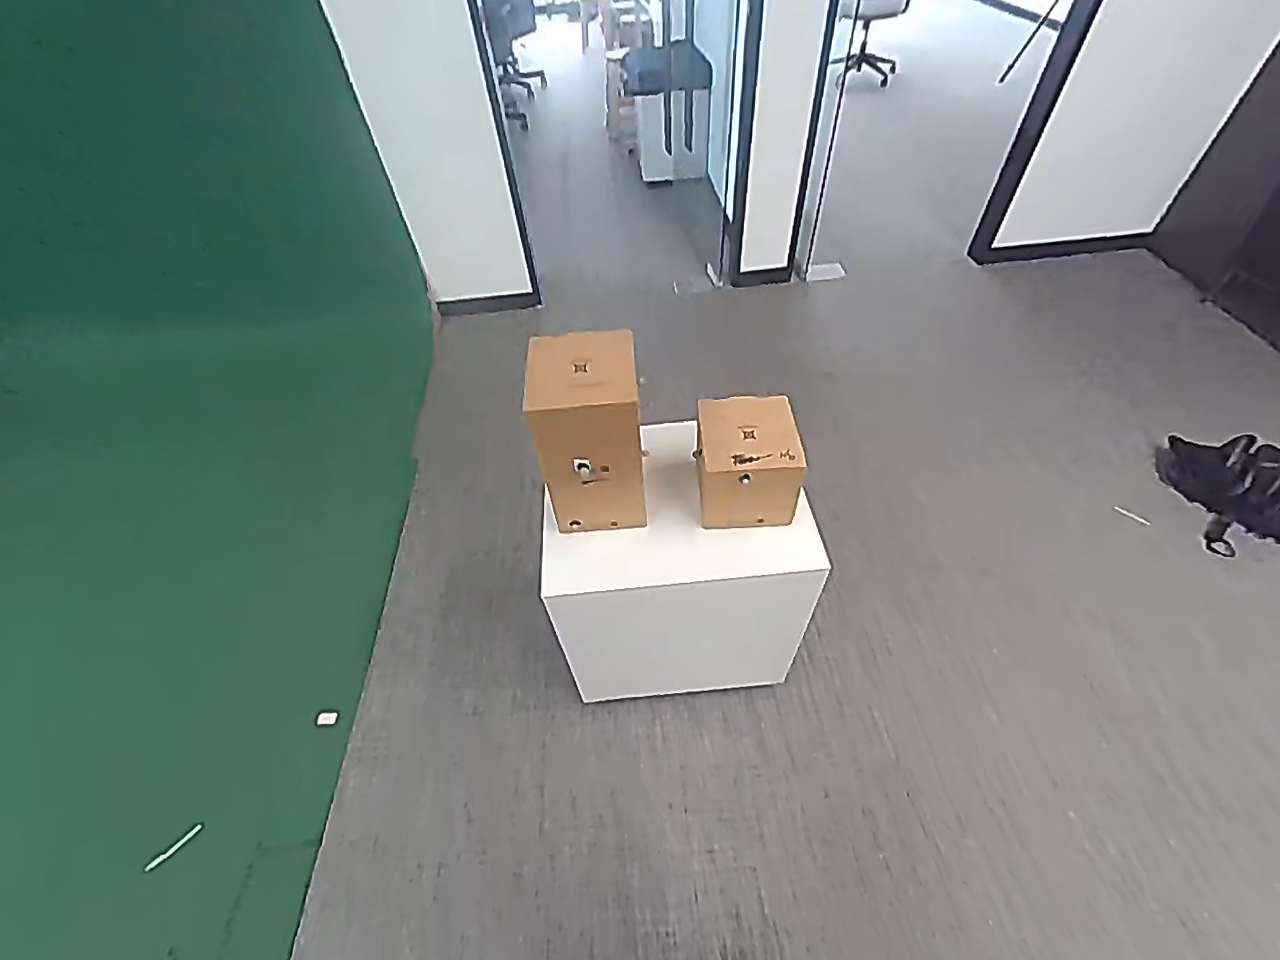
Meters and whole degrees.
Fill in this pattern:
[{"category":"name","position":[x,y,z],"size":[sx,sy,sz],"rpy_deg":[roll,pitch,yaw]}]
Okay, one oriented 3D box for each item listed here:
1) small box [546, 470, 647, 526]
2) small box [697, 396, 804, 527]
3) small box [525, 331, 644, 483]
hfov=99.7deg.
[{"category":"small box","position":[-0.076,-0.026,1.014],"size":[0.168,0.176,0.179],"rpy_deg":[-4,49,0]},{"category":"small box","position":[0.193,-0.032,0.999],"size":[0.168,0.176,0.179],"rpy_deg":[-3,49,3]},{"category":"small box","position":[-0.083,-0.117,0.880],"size":[0.168,0.176,0.179],"rpy_deg":[-6,51,0]}]
